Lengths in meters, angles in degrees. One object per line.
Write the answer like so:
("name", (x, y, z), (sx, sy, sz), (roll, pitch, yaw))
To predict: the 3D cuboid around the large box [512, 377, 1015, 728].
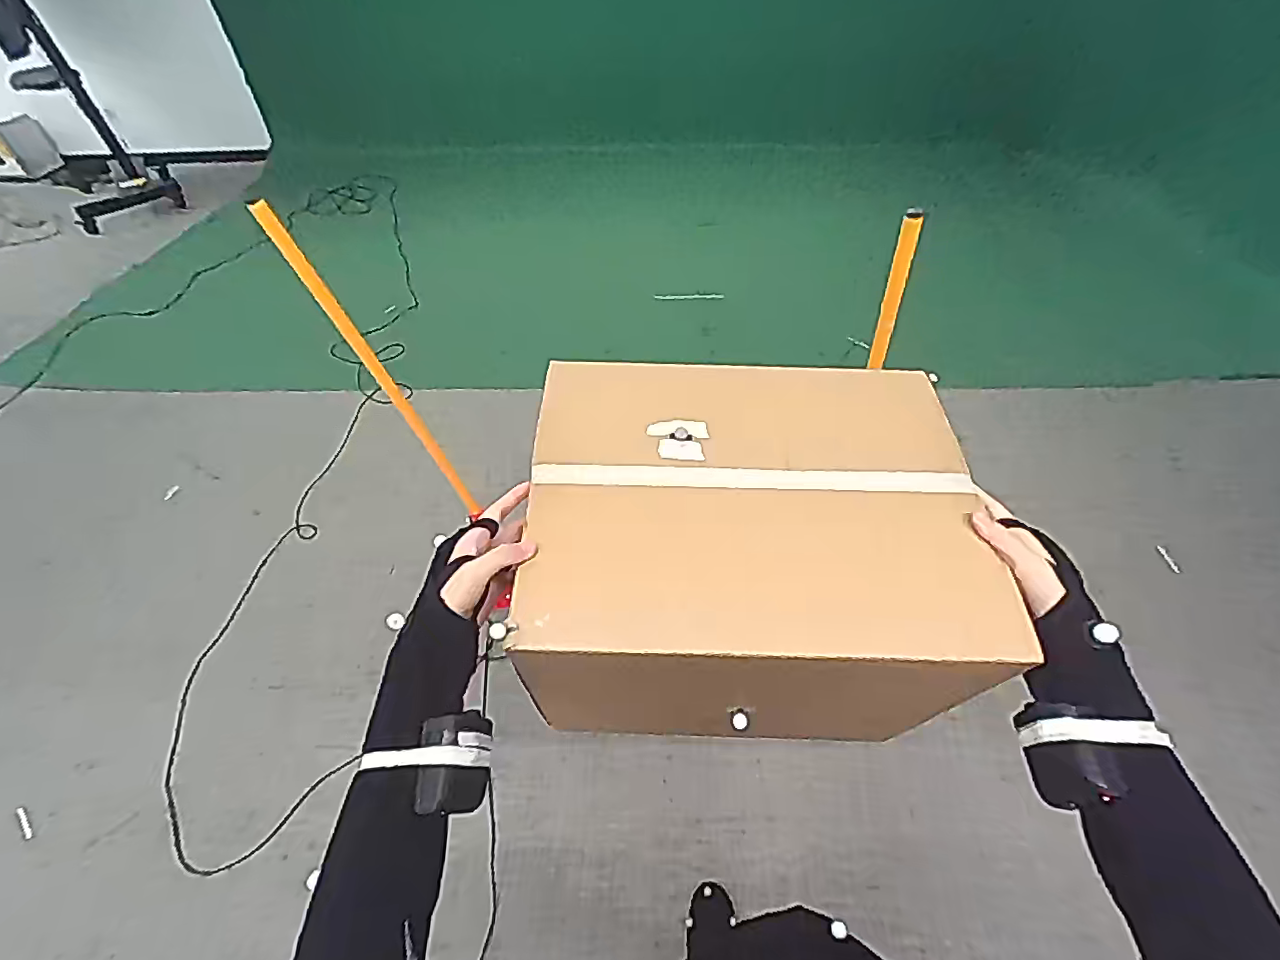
("large box", (0.100, 0.097, 0.628), (0.408, 0.320, 0.320), (1, 55, 1))
